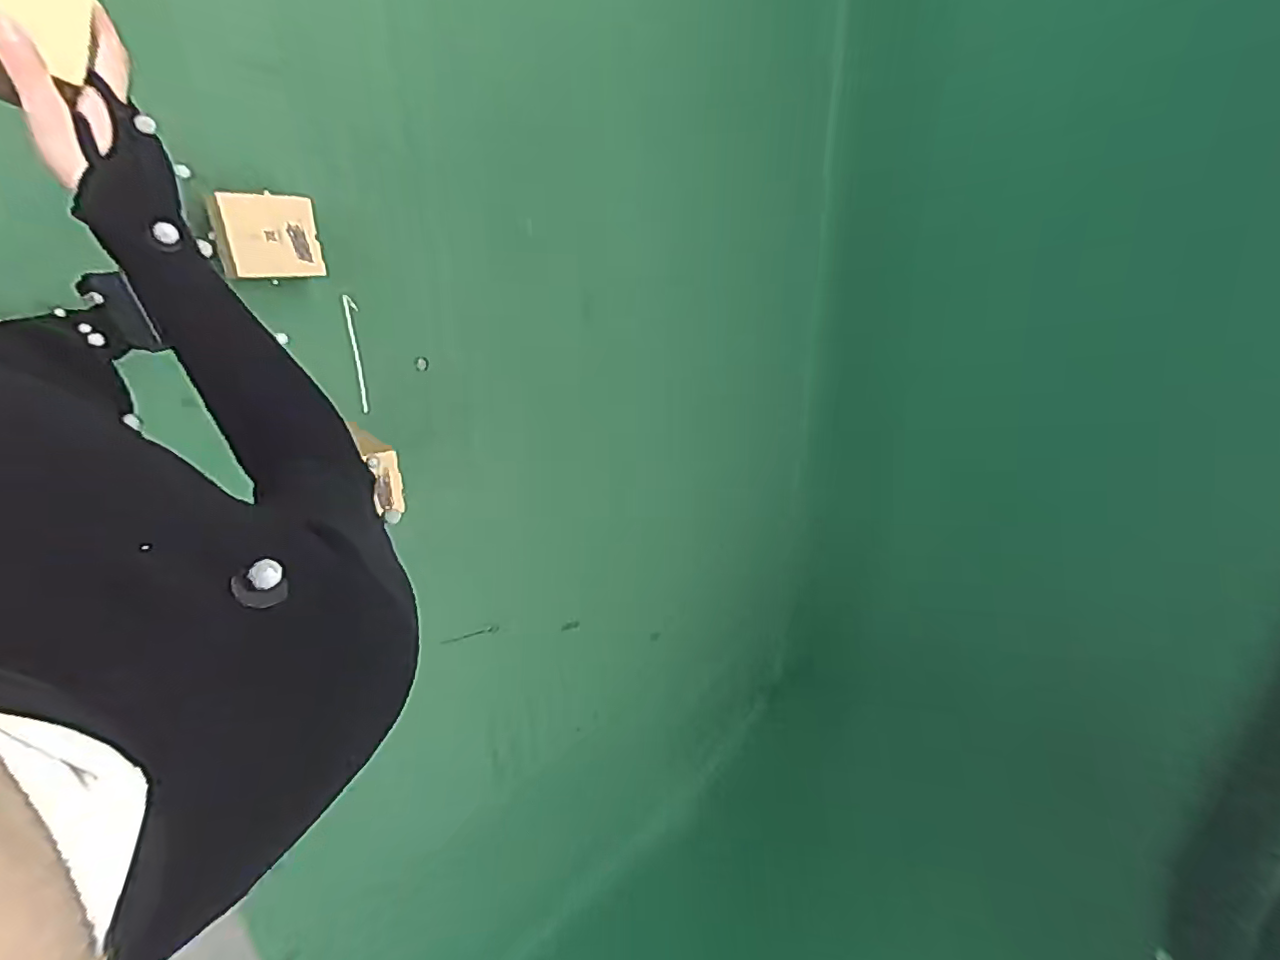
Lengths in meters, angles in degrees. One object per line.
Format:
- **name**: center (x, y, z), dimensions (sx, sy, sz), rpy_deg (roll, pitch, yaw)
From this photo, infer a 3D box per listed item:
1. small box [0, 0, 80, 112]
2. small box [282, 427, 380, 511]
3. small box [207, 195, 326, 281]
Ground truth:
- **small box**: center (-0.508, -0.392, 0.371), dimensions (0.168, 0.176, 0.179), rpy_deg (2, 102, -53)
- **small box**: center (-0.823, -0.038, 1.443), dimensions (0.179, 0.176, 0.168), rpy_deg (-17, 116, -40)
- **small box**: center (-0.850, -0.544, 1.232), dimensions (0.179, 0.176, 0.168), rpy_deg (-19, 117, -39)
